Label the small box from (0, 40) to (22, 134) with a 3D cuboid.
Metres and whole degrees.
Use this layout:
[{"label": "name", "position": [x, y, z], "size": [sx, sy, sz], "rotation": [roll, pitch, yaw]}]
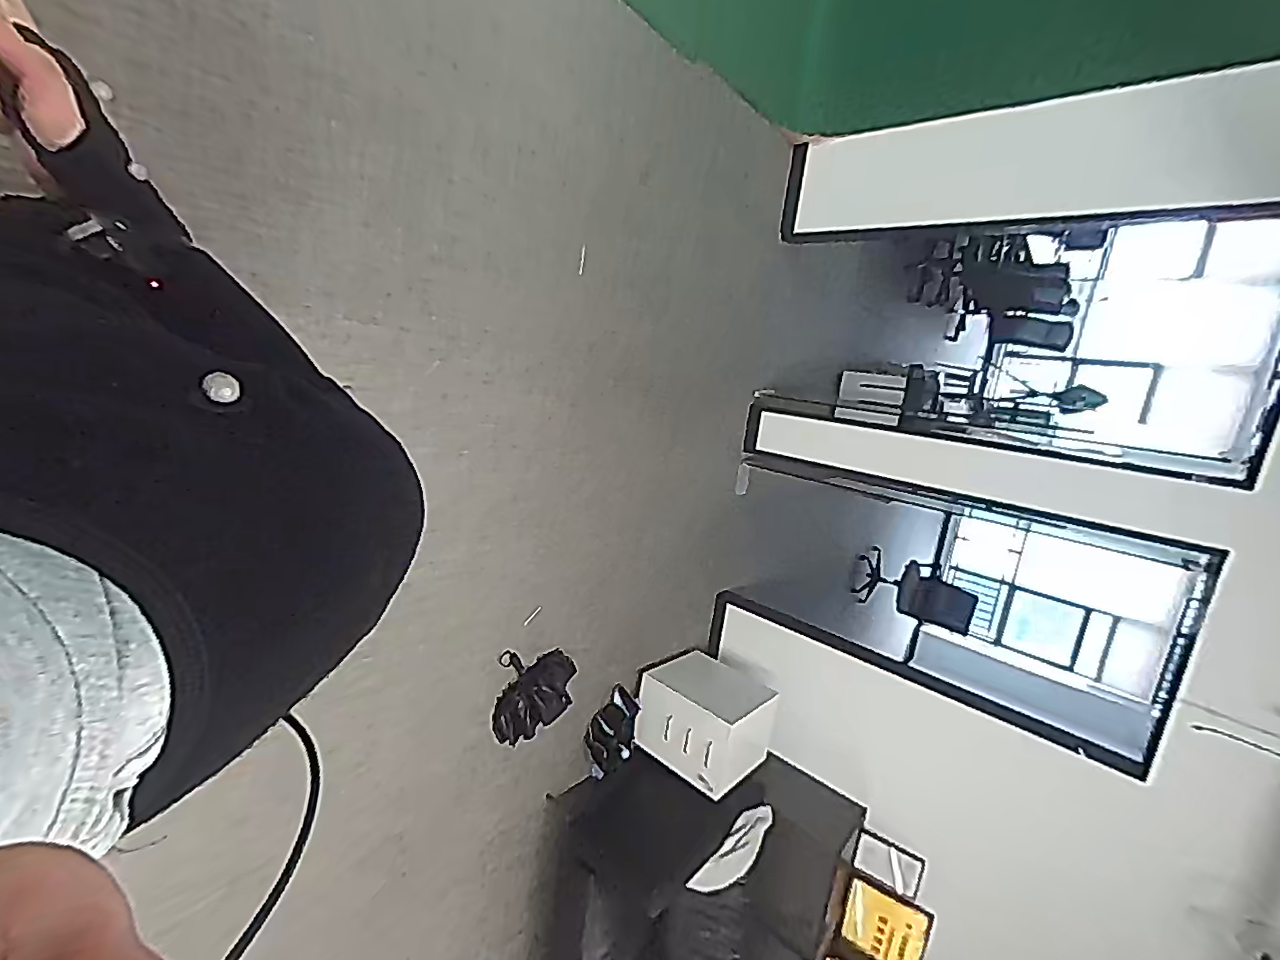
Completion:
[{"label": "small box", "position": [-0.485, -0.306, 0.281], "size": [0.179, 0.176, 0.168], "rotation": [-13, 109, -39]}]
